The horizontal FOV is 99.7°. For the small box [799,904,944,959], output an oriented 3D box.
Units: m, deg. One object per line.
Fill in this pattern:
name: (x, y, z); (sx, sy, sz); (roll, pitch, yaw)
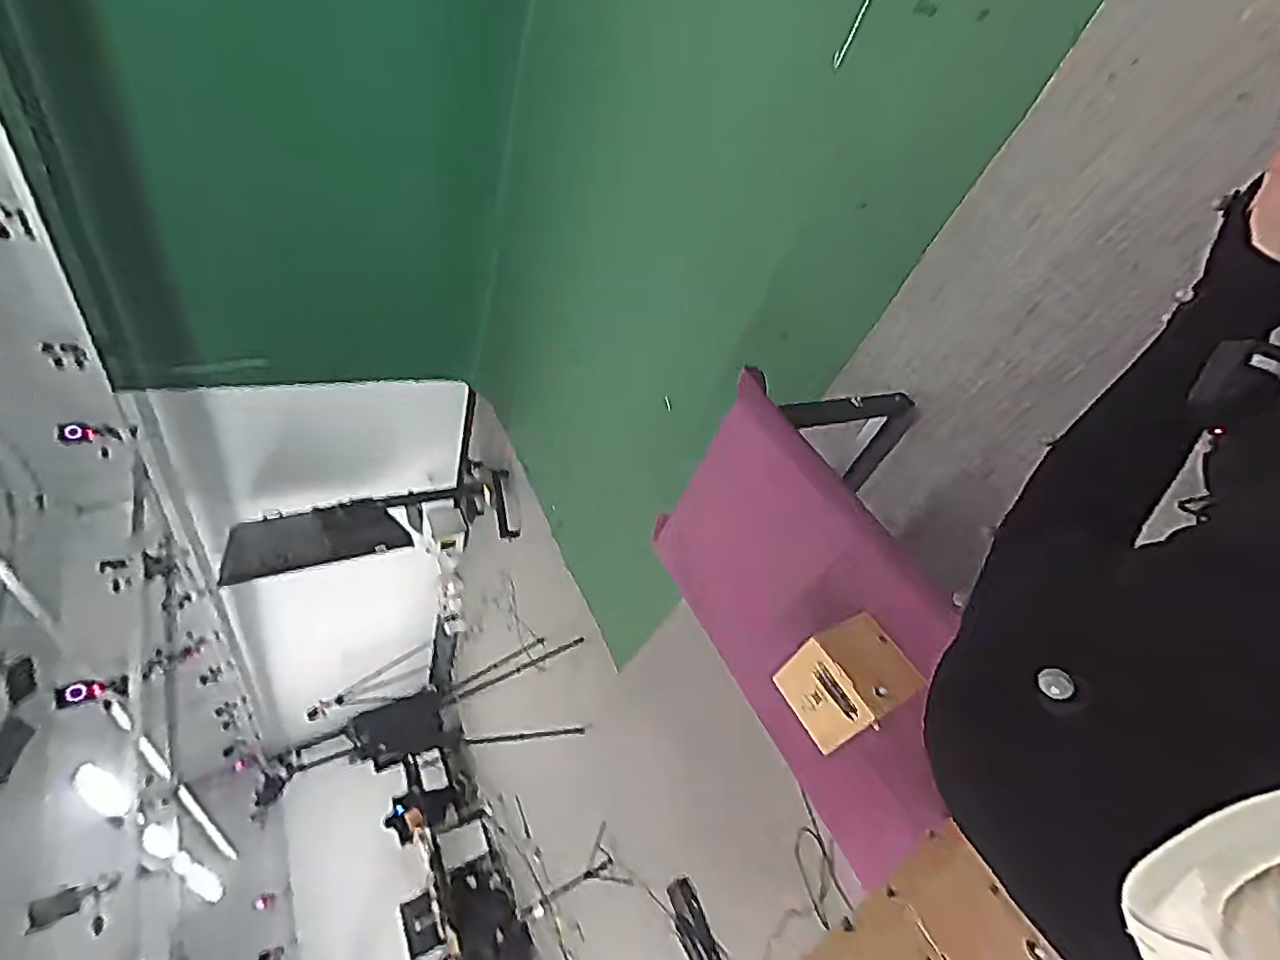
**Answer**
small box: (0.303, 0.693, 0.694); (0.168, 0.176, 0.179); (55, 140, 33)

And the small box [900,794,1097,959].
small box: (0.574, 0.647, 0.872); (0.168, 0.176, 0.179); (56, 139, 32)

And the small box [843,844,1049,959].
small box: (0.441, 0.664, 0.778); (0.168, 0.176, 0.179); (55, 141, 32)
